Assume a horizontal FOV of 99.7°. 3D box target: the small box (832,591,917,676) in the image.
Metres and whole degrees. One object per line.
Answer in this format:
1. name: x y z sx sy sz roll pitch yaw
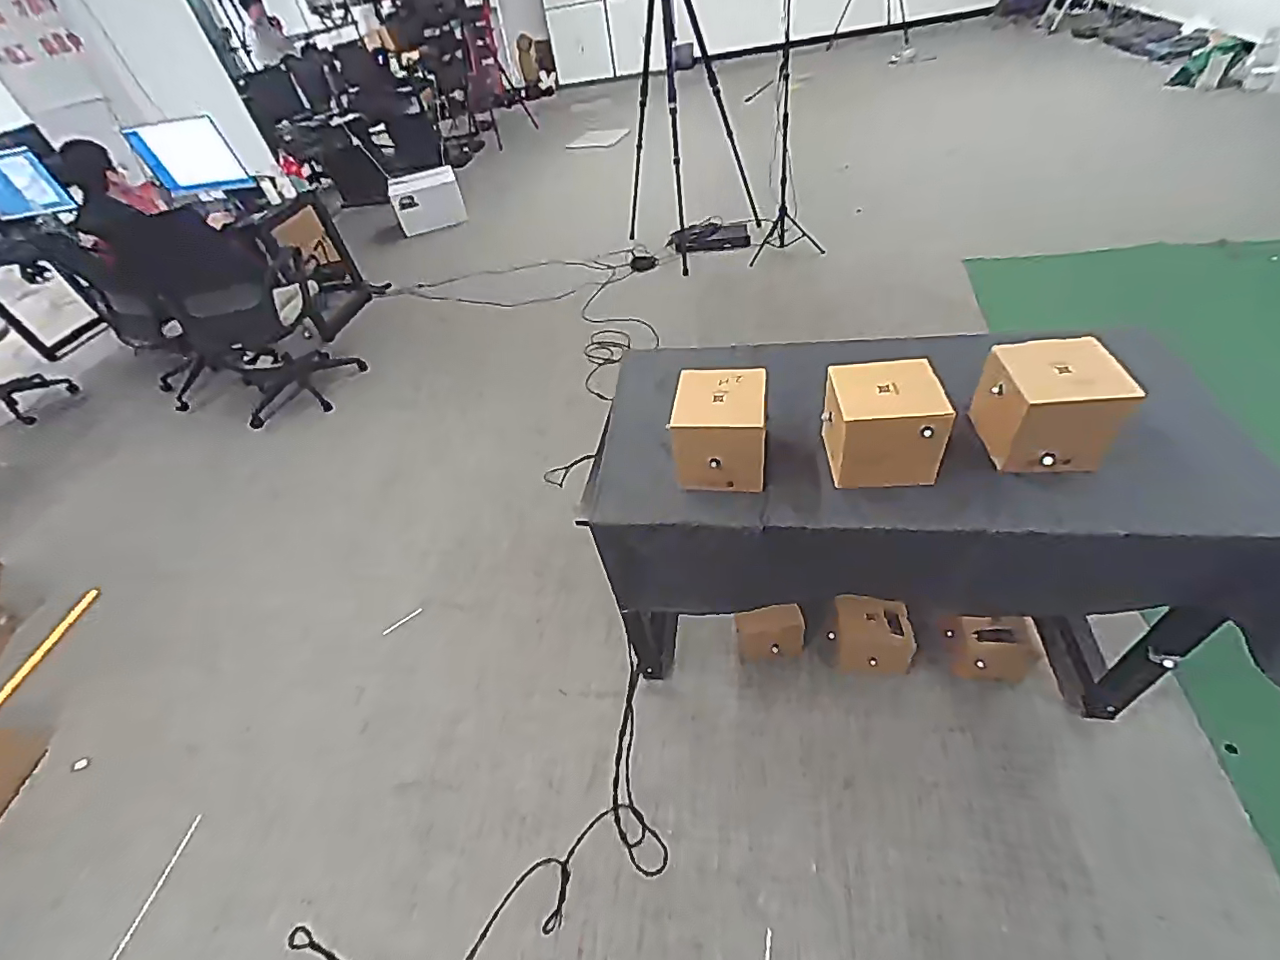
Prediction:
1. small box: 0.628 0.420 1.472 0.179 0.176 0.168 -2 46 12

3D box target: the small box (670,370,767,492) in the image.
1. small box: 0.159 -0.093 1.046 0.168 0.176 0.179 2 46 14

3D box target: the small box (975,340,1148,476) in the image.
1. small box: 0.723 -0.125 0.957 0.168 0.176 0.179 -2 46 12

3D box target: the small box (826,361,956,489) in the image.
1. small box: 0.443 -0.097 0.992 0.179 0.176 0.168 -3 45 9
